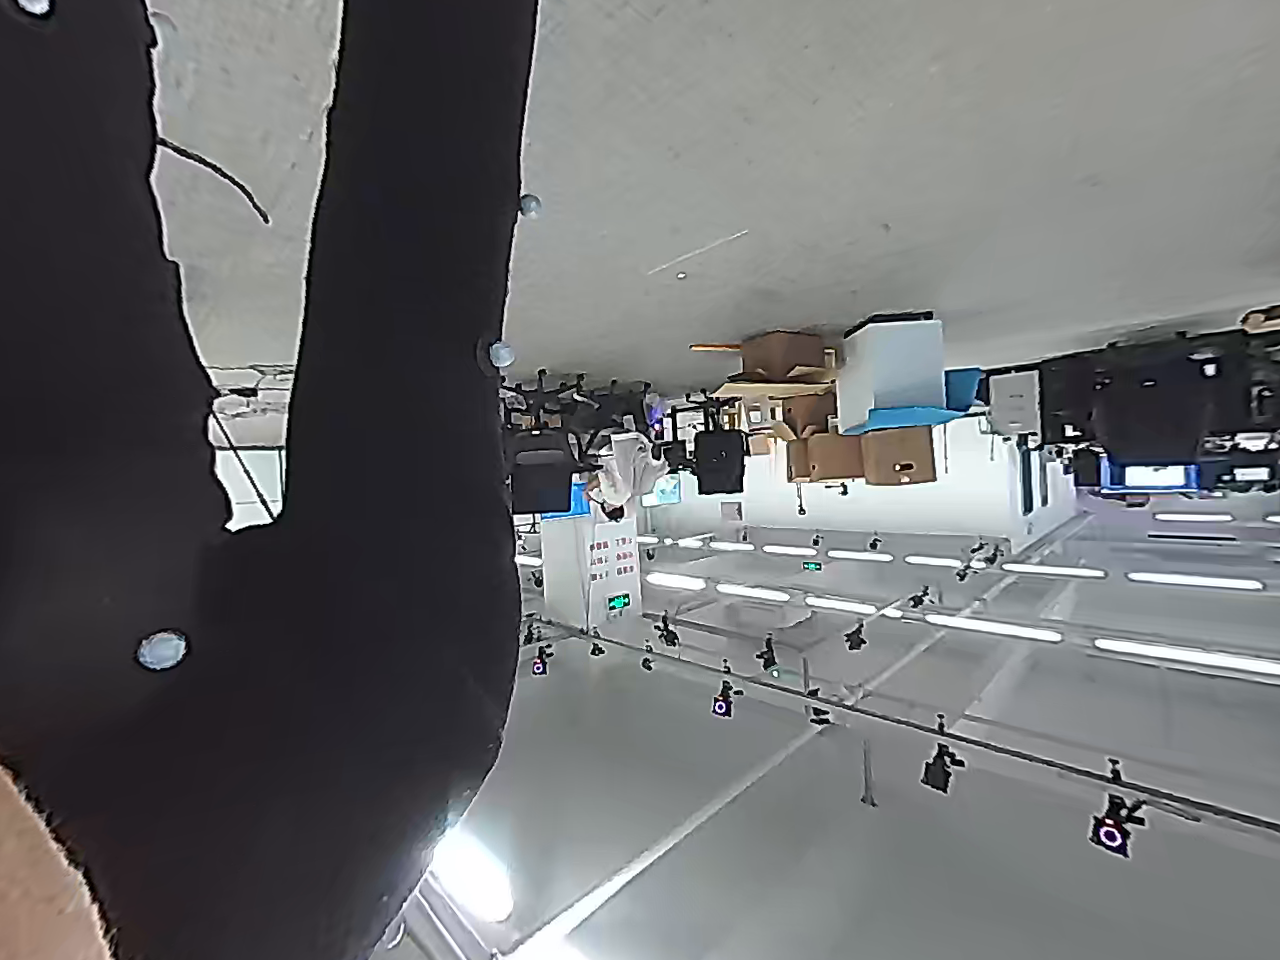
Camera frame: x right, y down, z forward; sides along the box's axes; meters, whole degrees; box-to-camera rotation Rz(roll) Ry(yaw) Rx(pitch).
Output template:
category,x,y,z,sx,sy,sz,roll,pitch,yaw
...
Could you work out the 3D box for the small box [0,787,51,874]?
category,x,y,z,sx,sy,sz,roll,pitch,yaw
small box,-1.865,1.032,1.587,0.168,0.176,0.179,-3,-179,-43
